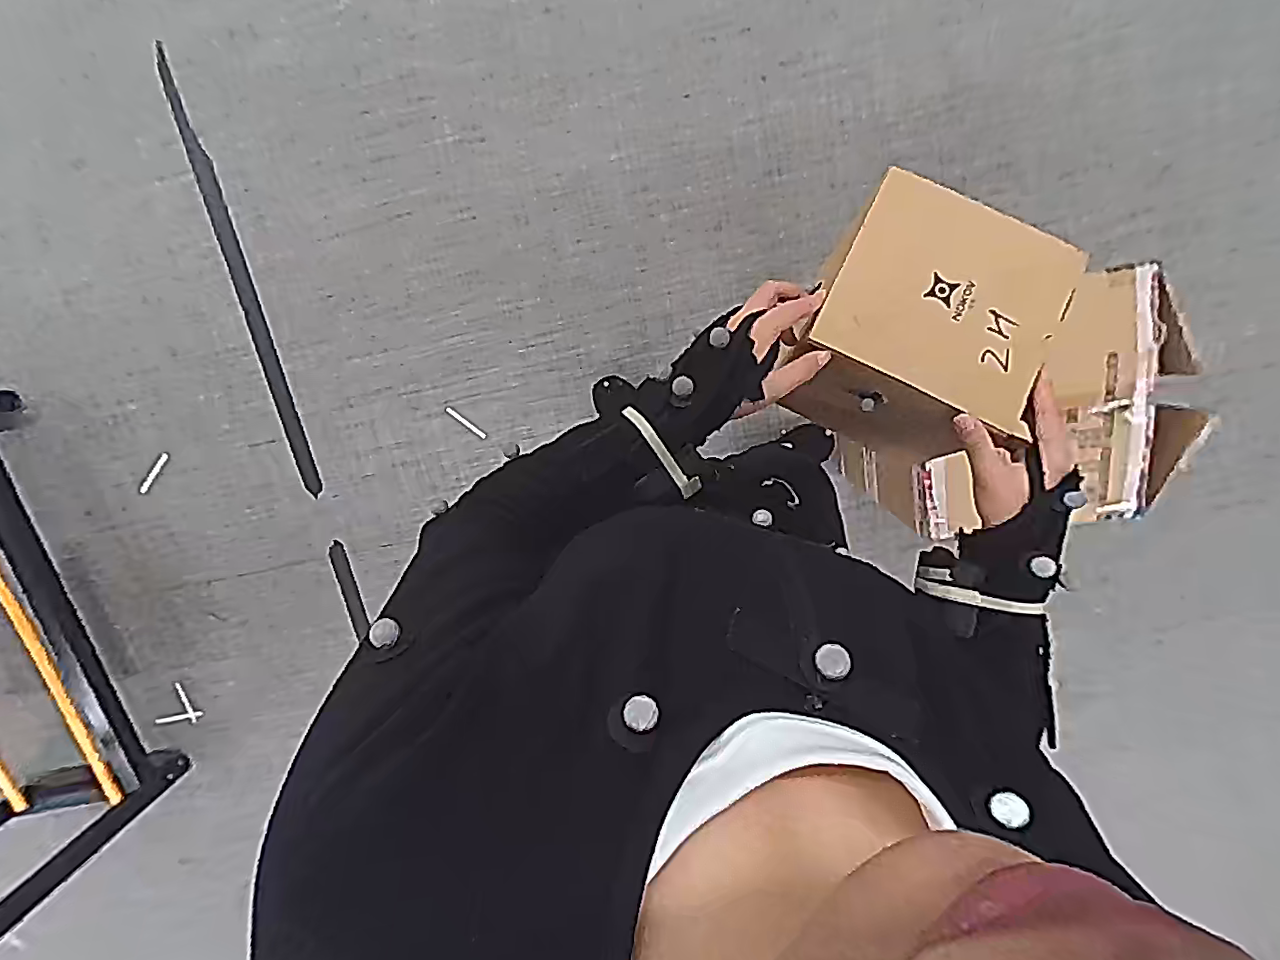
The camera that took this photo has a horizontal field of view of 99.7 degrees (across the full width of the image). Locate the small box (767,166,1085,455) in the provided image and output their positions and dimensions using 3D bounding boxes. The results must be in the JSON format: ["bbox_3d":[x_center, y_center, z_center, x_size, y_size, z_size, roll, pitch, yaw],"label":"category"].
[{"bbox_3d":[0.240,-0.136,0.503,0.179,0.176,0.168,26,85,3],"label":"small box"}]
